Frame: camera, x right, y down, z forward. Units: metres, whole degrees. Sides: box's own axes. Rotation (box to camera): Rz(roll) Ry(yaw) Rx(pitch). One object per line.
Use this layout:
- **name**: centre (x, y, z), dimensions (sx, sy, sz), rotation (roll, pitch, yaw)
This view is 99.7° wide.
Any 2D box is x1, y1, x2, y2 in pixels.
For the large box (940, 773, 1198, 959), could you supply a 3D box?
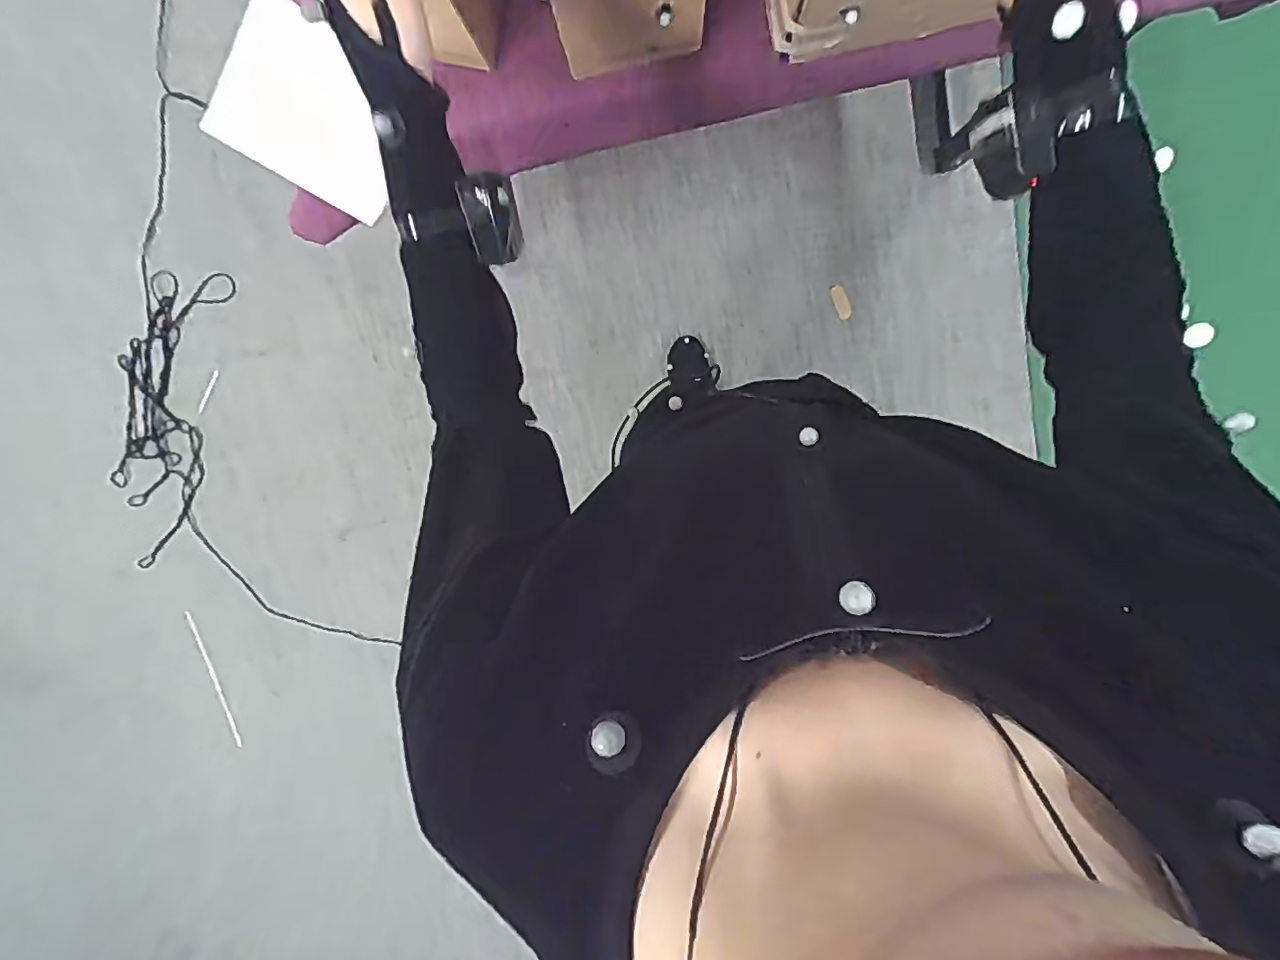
- **large box**: centre (1.132, 1.092, 1.475), dimensions (0.408, 0.320, 0.320), rotation (-25, 98, 6)
